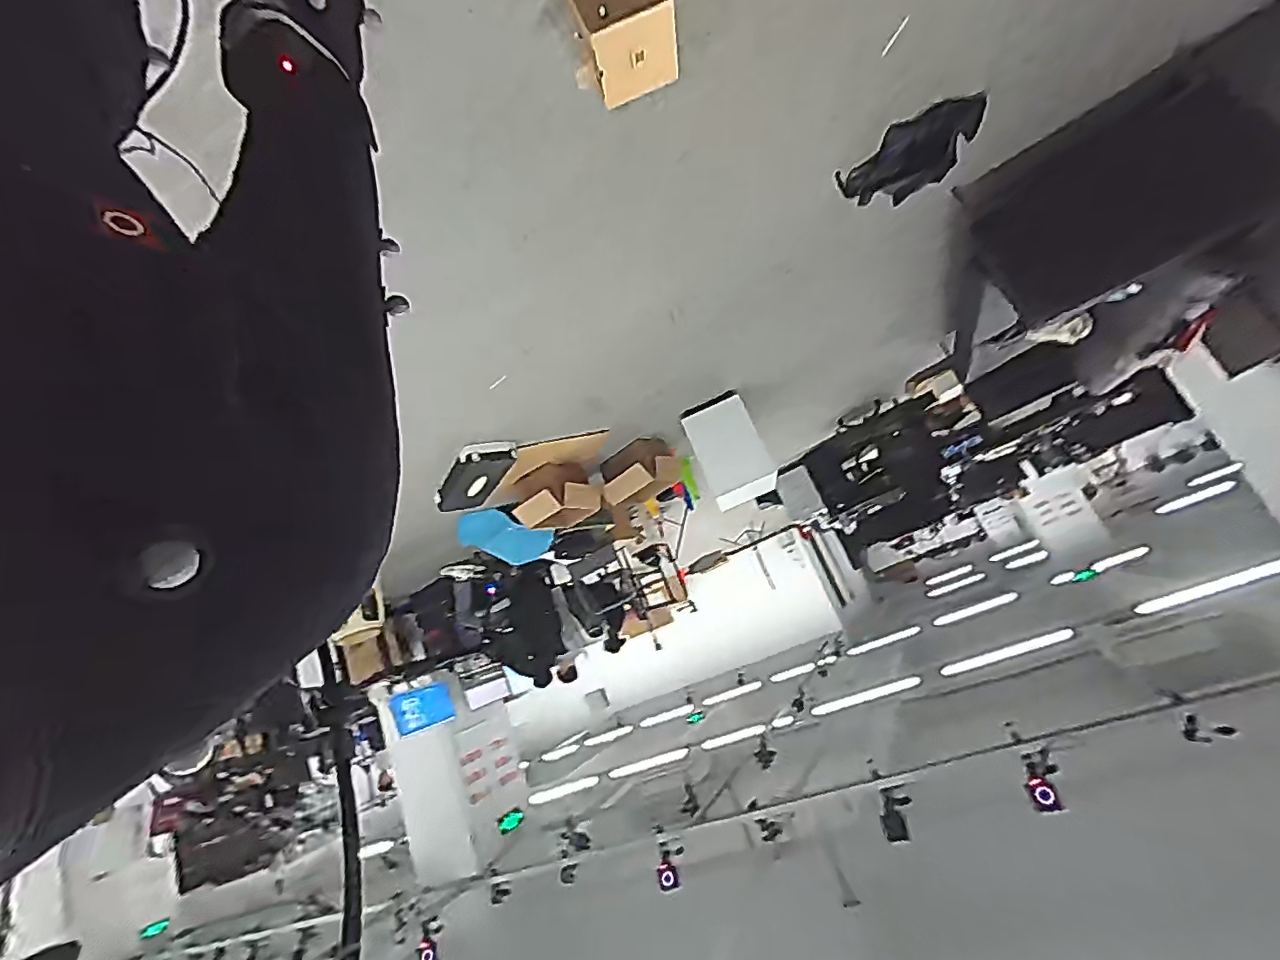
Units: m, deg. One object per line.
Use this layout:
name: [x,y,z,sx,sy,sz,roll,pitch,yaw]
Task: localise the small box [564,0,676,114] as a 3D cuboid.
small box: [-0.039,-0.926,1.128,0.179,0.176,0.168,-23,165,2]
